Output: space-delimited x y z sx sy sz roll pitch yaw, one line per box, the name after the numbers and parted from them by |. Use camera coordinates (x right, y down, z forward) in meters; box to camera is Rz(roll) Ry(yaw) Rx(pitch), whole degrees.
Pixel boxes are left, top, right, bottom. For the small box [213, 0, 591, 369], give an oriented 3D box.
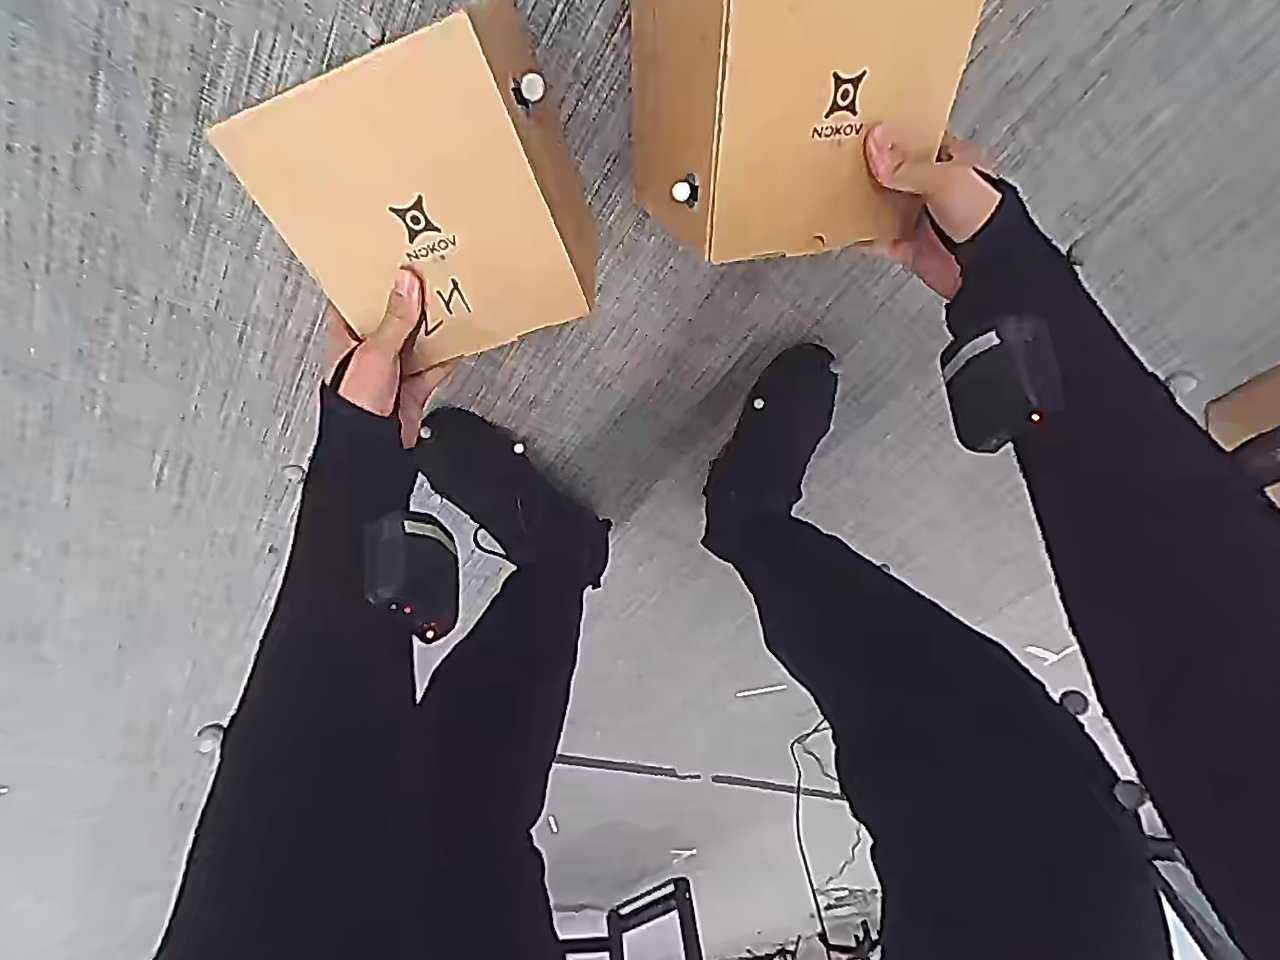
-0.143 -0.218 0.402 0.168 0.176 0.179 -15 133 11 | small box

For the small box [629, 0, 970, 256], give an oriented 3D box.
0.093 -0.285 0.388 0.168 0.176 0.179 -13 133 -12 | small box
